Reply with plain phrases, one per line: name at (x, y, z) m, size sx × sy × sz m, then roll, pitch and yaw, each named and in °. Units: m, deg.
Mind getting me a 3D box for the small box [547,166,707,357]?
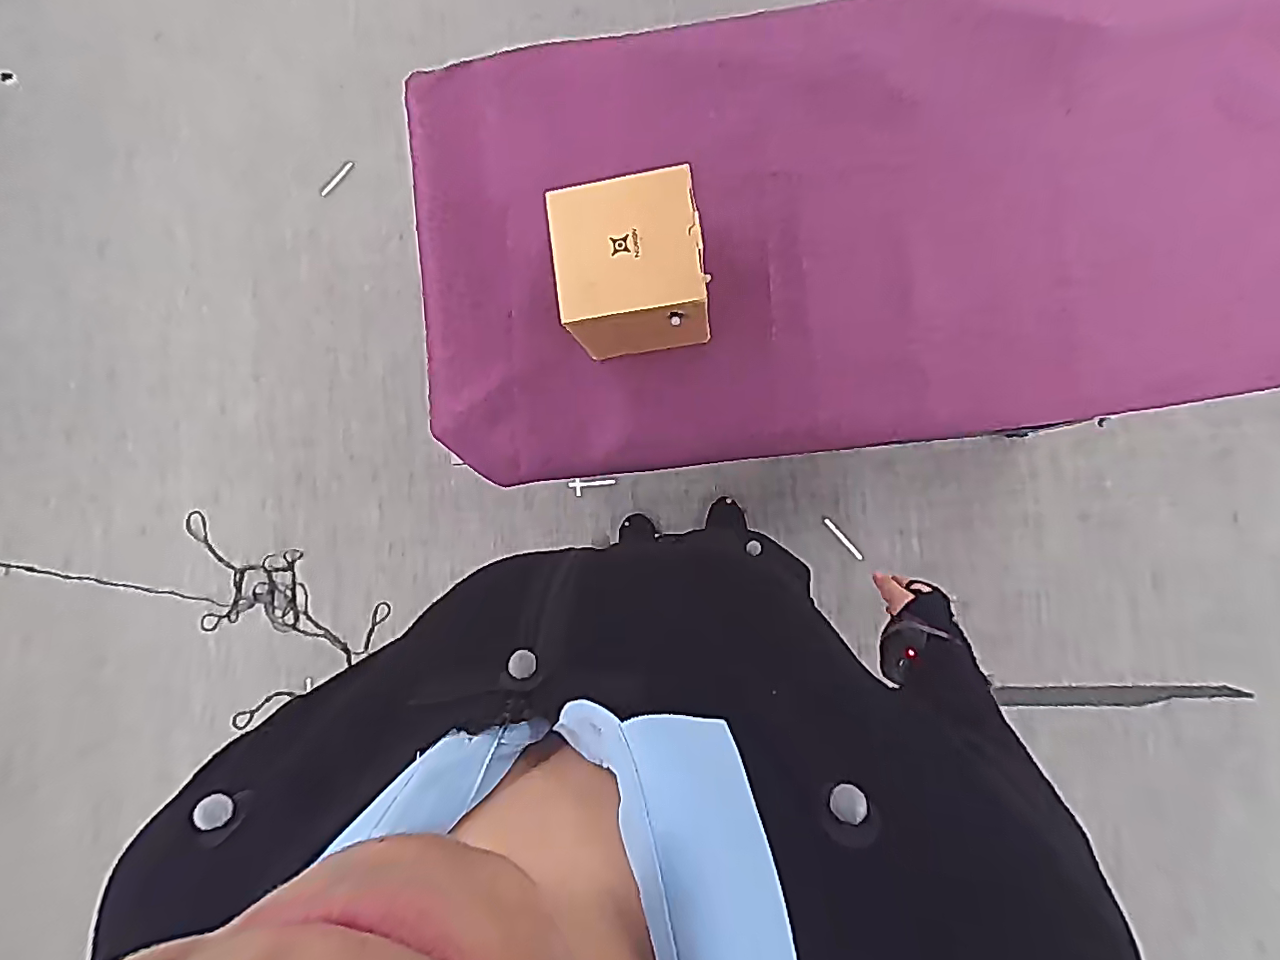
small box at (-0.008, -0.273, 0.717) m, size 0.179 × 0.176 × 0.168 m, roll -8°, pitch 86°, yaw 7°
